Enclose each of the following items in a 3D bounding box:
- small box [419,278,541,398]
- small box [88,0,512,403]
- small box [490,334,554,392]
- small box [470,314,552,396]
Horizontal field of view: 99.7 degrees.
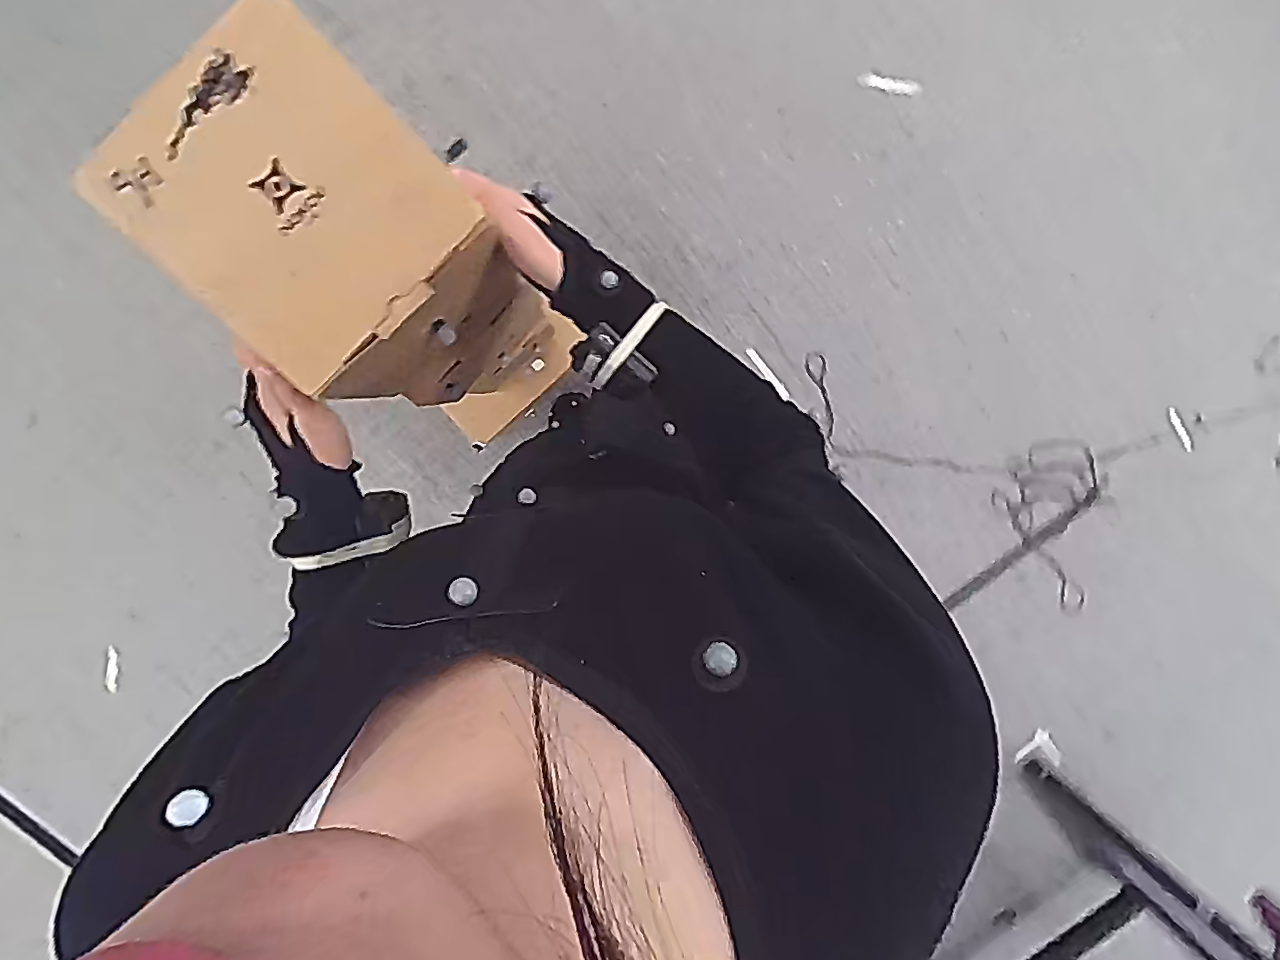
[{"bbox_3d":[-0.251,-0.231,0.732,0.179,0.176,0.168,42,92,-11],"label":"small box"},{"bbox_3d":[-0.217,-0.179,0.408,0.168,0.176,0.179,-44,102,1],"label":"small box"},{"bbox_3d":[-0.285,-0.286,1.053,0.168,0.176,0.179,-42,102,3],"label":"small box"},{"bbox_3d":[-0.262,-0.258,0.895,0.168,0.176,0.179,-44,100,2],"label":"small box"}]
